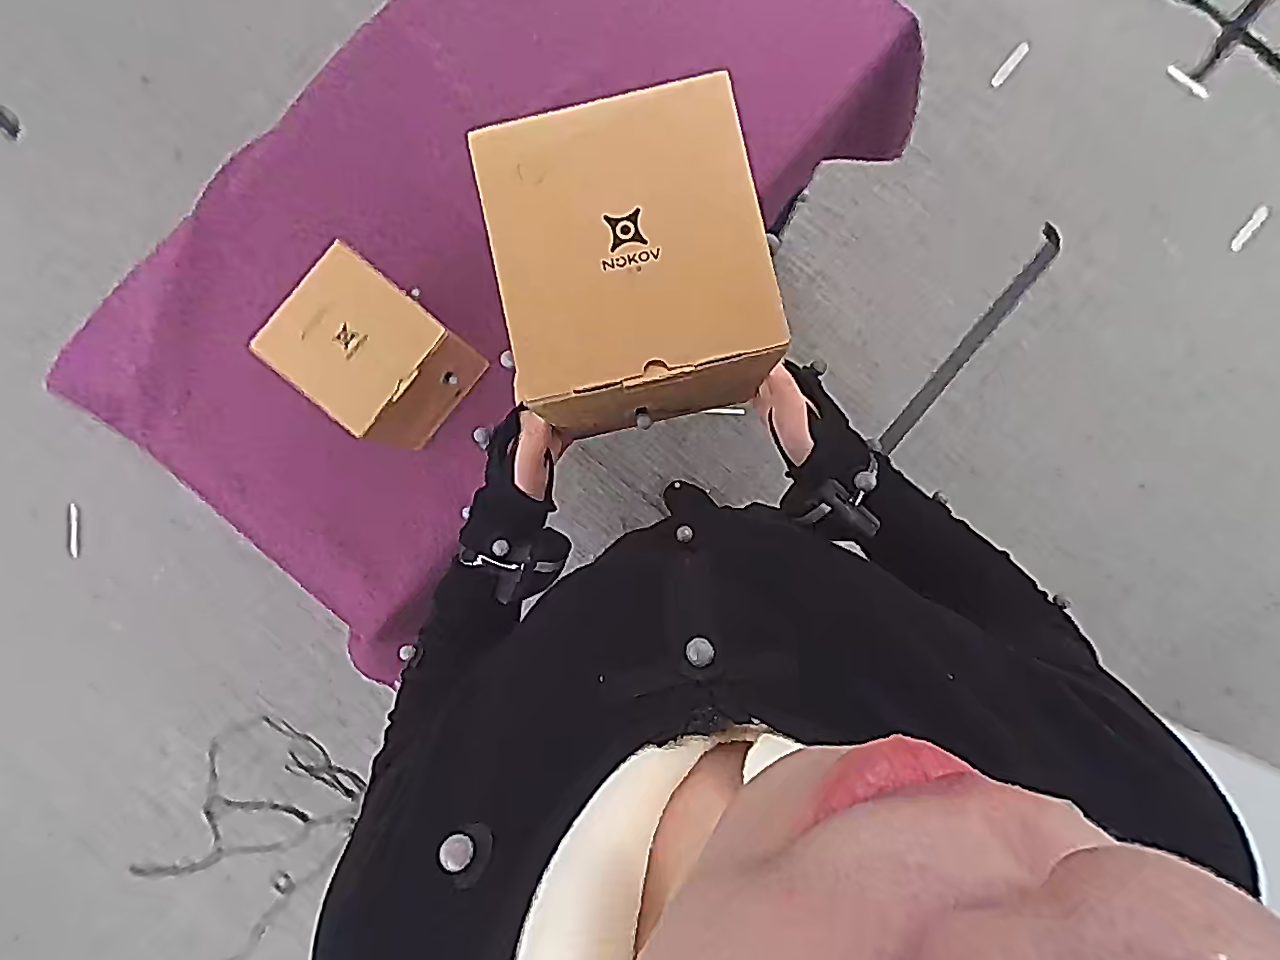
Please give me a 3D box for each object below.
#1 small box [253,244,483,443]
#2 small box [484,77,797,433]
[{"bbox_3d":[-0.338,-0.163,0.713,0.179,0.176,0.168,39,89,2],"label":"small box"},{"bbox_3d":[0.000,-0.144,0.407,0.168,0.176,0.179,-12,88,1],"label":"small box"}]
